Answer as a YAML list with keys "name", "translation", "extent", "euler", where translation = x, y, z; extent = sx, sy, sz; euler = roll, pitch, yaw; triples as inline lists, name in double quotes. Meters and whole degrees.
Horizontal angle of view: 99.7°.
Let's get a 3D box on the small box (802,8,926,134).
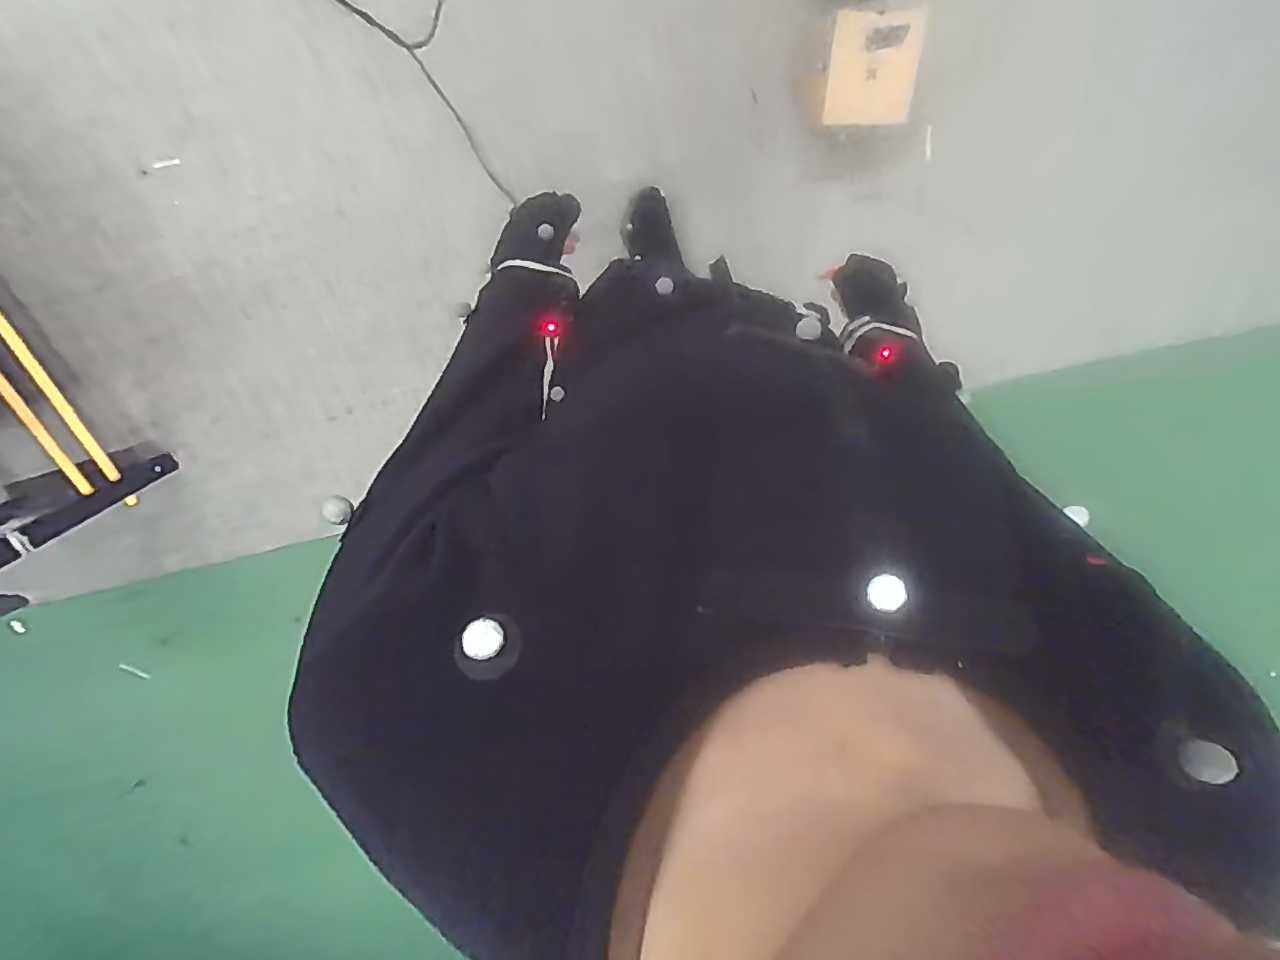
- name: "small box"
  translation: [0.432, -0.803, 1.076]
  extent: [0.168, 0.176, 0.179]
  euler: [1, 118, 1]
